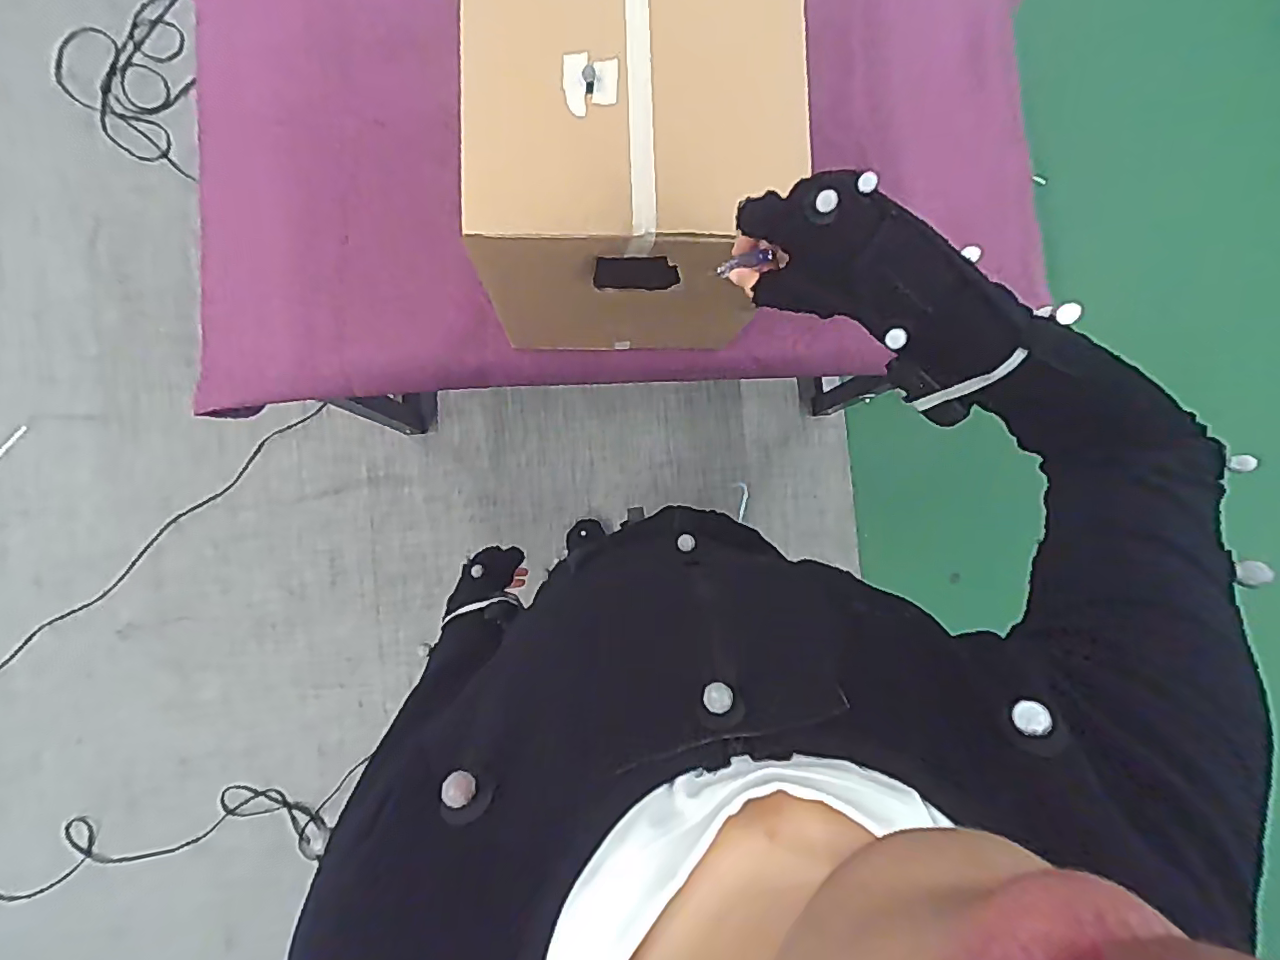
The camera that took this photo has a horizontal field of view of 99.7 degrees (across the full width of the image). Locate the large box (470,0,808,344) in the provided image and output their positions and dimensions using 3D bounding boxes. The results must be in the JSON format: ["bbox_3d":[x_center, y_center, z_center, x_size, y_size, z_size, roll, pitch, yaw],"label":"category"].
[{"bbox_3d":[-0.016,-0.406,0.650,0.320,0.320,0.408,-1,87,-5],"label":"large box"}]
